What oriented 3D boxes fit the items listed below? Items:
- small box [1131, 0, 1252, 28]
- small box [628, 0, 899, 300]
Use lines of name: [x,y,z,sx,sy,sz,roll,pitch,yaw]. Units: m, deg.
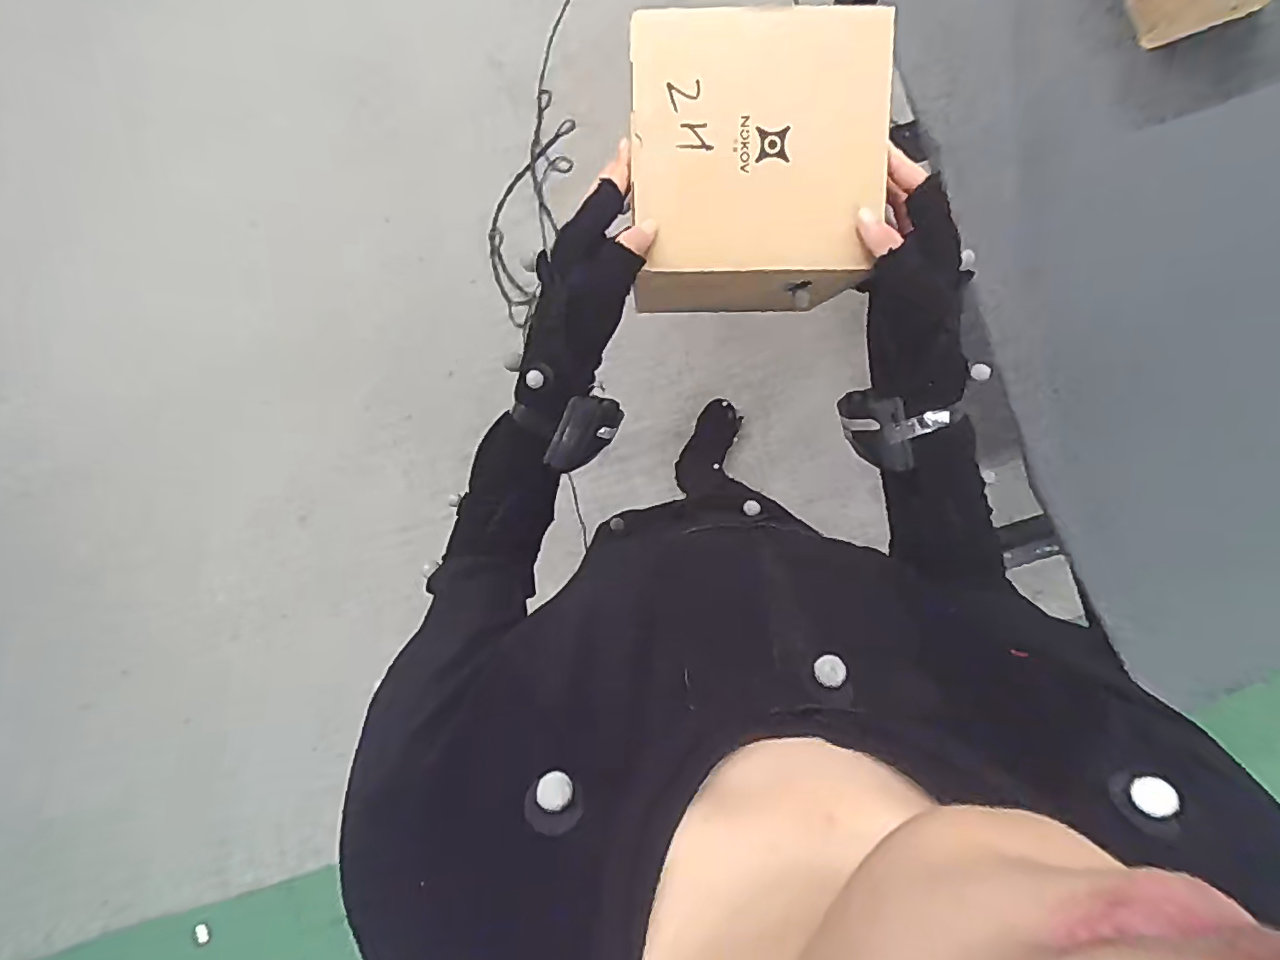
small box: [0.715,-0.689,0.637,0.168,0.176,0.179,-19,88,2]
small box: [0.079,-0.246,0.435,0.179,0.176,0.168,0,98,1]
